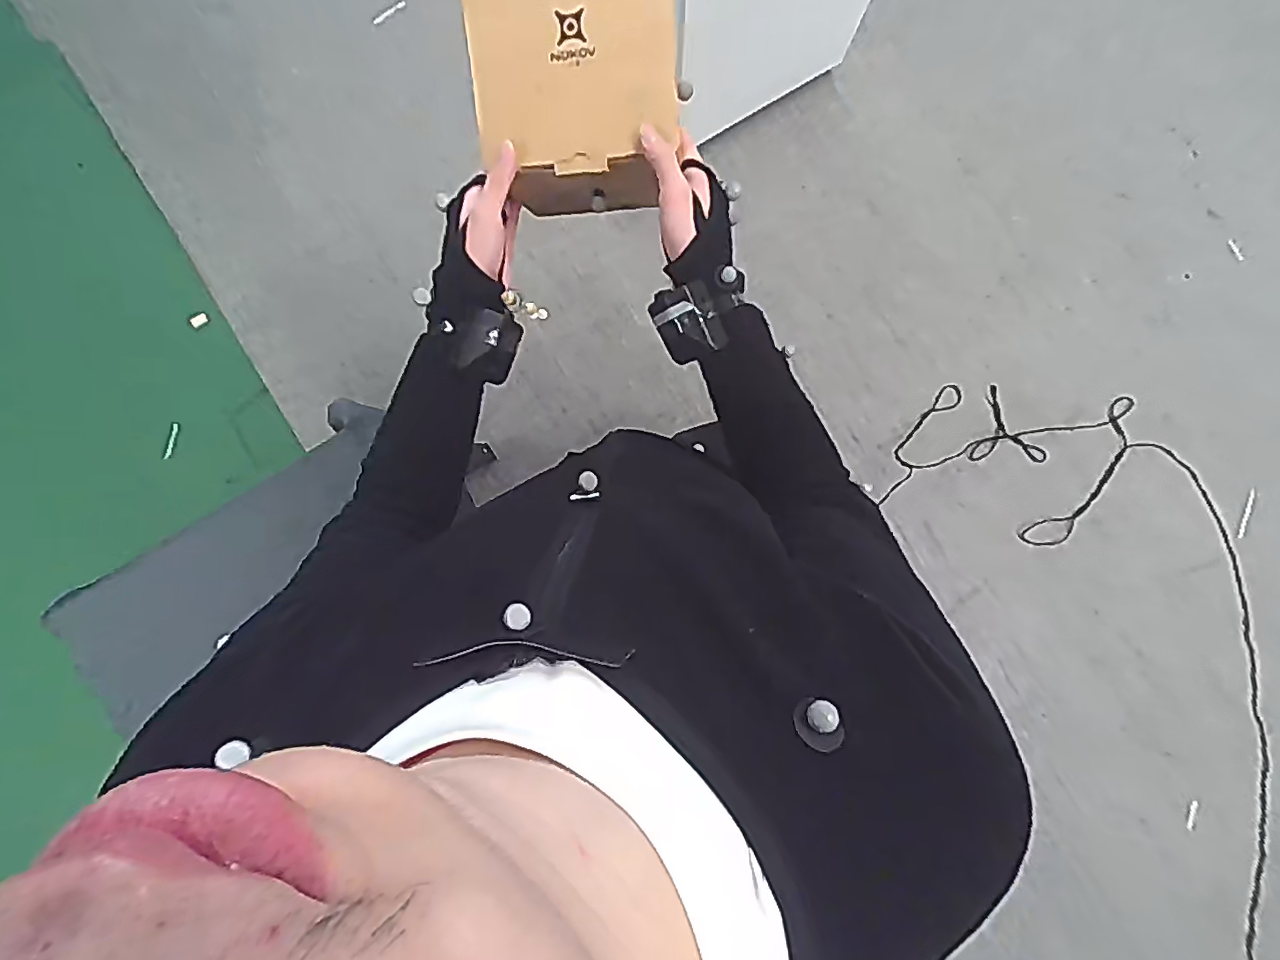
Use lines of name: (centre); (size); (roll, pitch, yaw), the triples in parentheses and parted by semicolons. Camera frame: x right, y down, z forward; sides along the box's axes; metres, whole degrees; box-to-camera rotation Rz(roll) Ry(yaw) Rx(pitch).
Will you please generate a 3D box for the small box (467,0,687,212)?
small box: (-0.044, -0.363, 0.505); (0.168, 0.176, 0.179); (-4, 103, 6)
